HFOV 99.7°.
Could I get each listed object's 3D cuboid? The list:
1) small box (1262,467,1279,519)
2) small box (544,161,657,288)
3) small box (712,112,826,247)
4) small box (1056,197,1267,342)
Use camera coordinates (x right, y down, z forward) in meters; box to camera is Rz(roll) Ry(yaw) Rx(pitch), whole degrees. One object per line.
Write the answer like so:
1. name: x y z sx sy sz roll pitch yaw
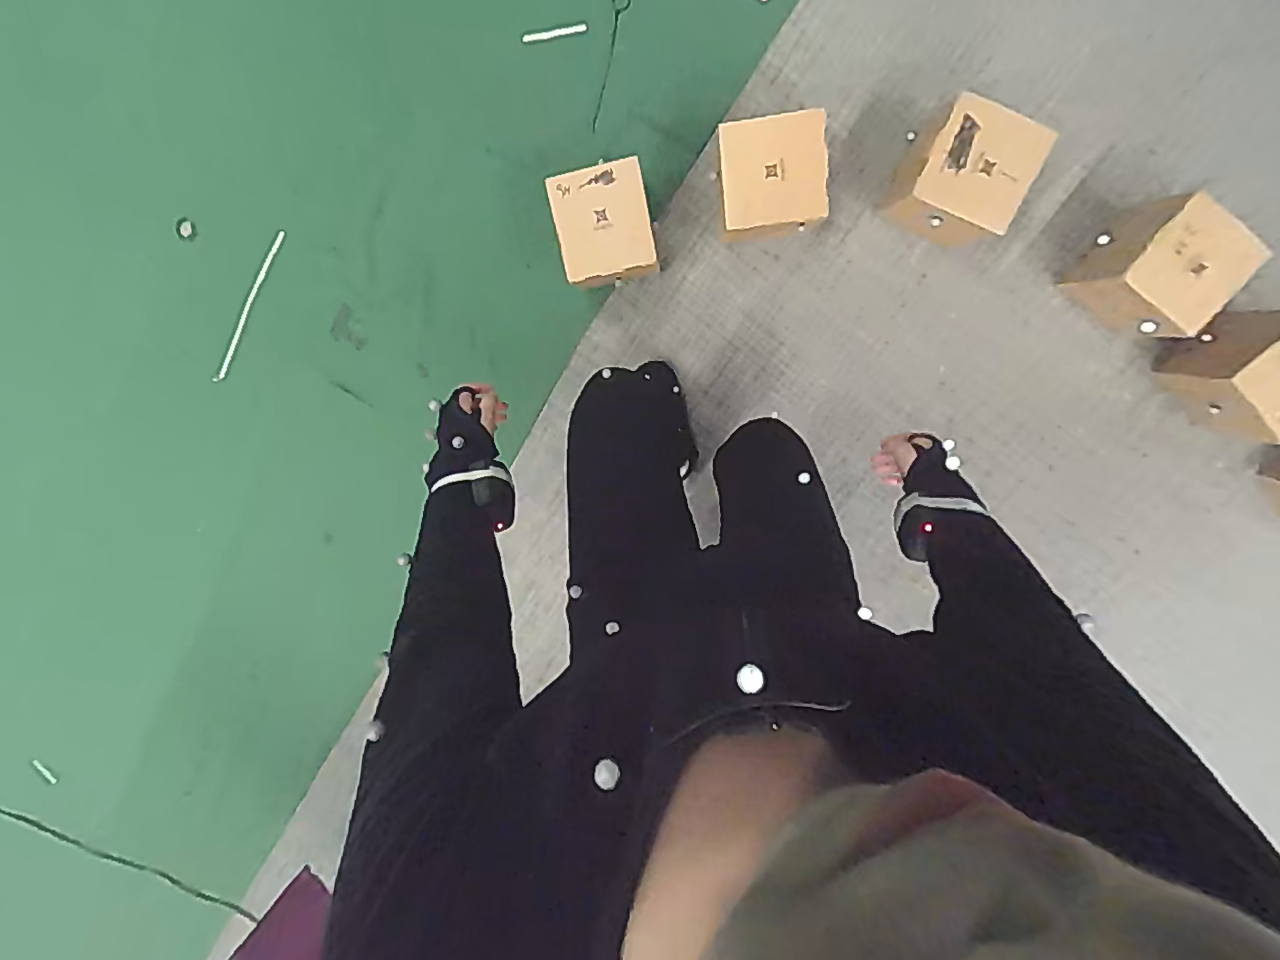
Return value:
1. small box: 1.412 0.034 1.062 0.168 0.176 0.179 -38 101 13
2. small box: -0.064 -0.464 1.013 0.168 0.176 0.179 -10 105 6
3. small box: 0.225 -0.530 0.979 0.179 0.176 0.168 -6 105 5
4. small box: 0.922 -0.370 0.976 0.179 0.176 0.168 34 104 -6
